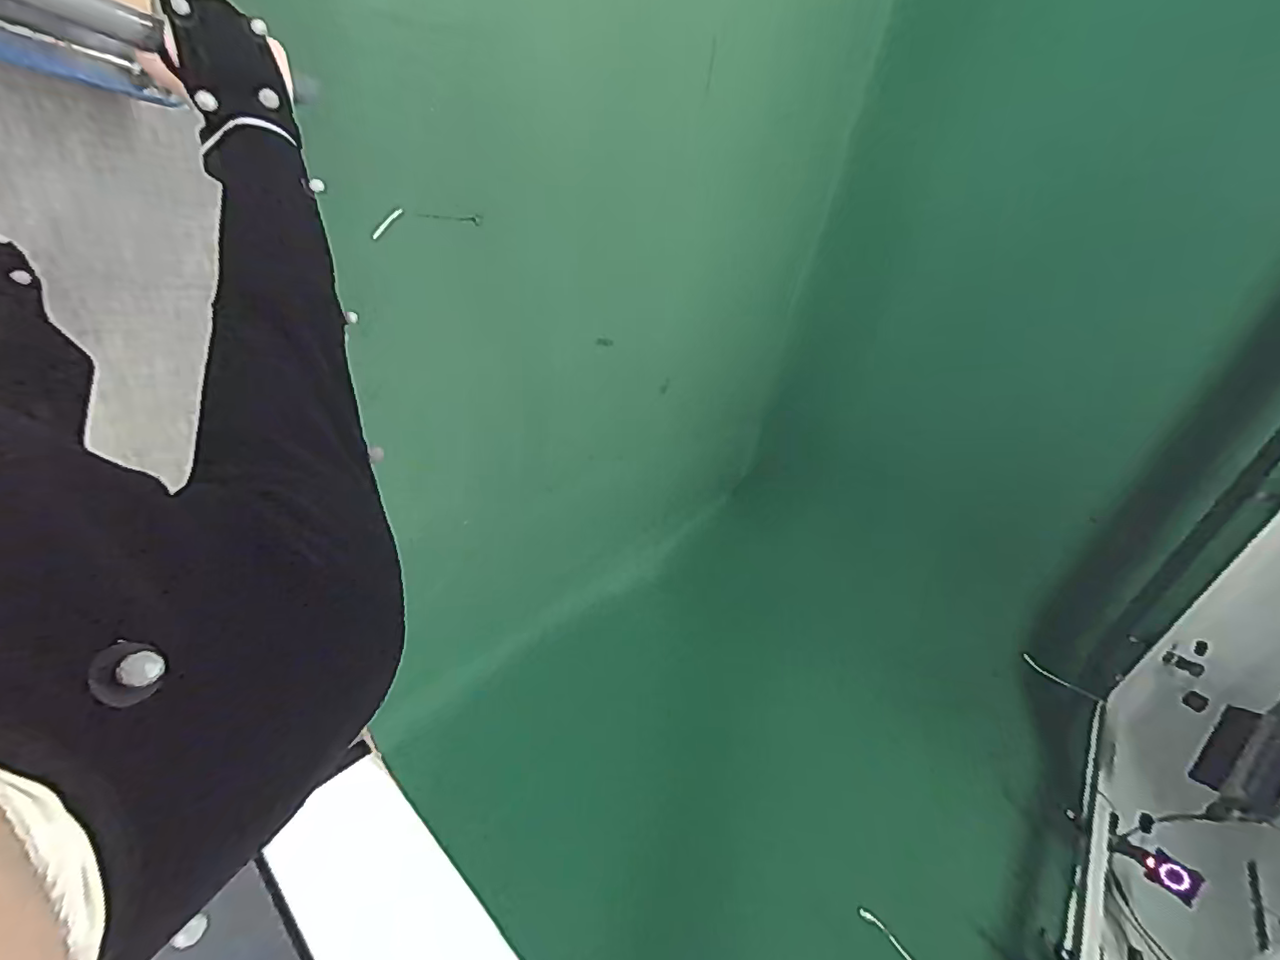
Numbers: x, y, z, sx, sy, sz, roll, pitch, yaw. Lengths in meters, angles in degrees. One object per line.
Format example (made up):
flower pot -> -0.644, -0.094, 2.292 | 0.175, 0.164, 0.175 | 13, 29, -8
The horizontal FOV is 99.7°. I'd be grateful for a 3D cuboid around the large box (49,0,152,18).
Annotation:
large box -> -0.810, -0.833, 0.606 | 0.320, 0.320, 0.408 | -15, 127, -51
